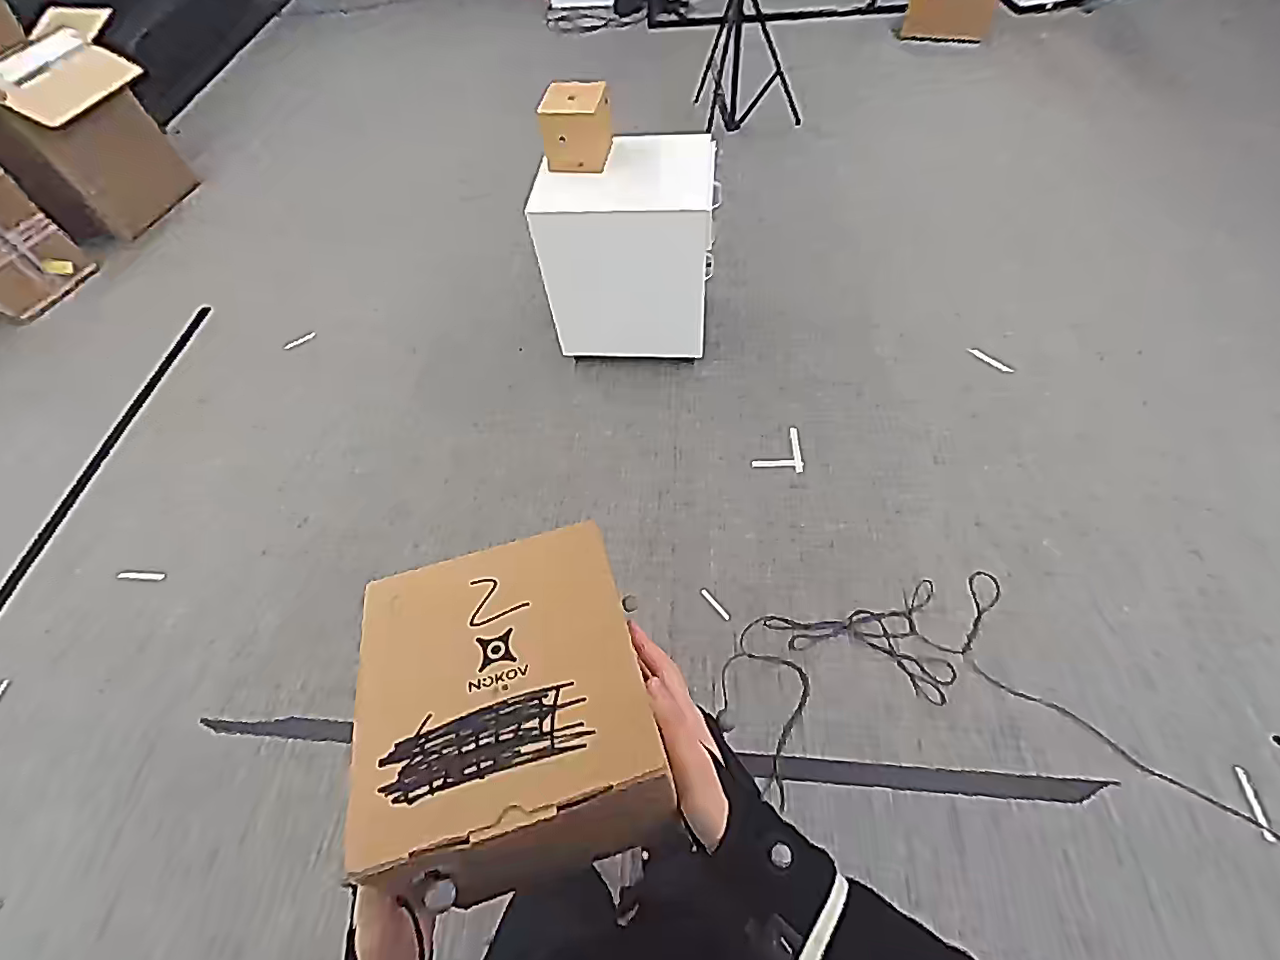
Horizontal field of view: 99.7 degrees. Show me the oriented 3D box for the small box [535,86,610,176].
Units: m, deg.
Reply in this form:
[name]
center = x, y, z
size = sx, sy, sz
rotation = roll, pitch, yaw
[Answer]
[small box]
center = -0.188, -1.009, 1.570
size = 0.168, 0.176, 0.179
rotation = 5, 58, 8
